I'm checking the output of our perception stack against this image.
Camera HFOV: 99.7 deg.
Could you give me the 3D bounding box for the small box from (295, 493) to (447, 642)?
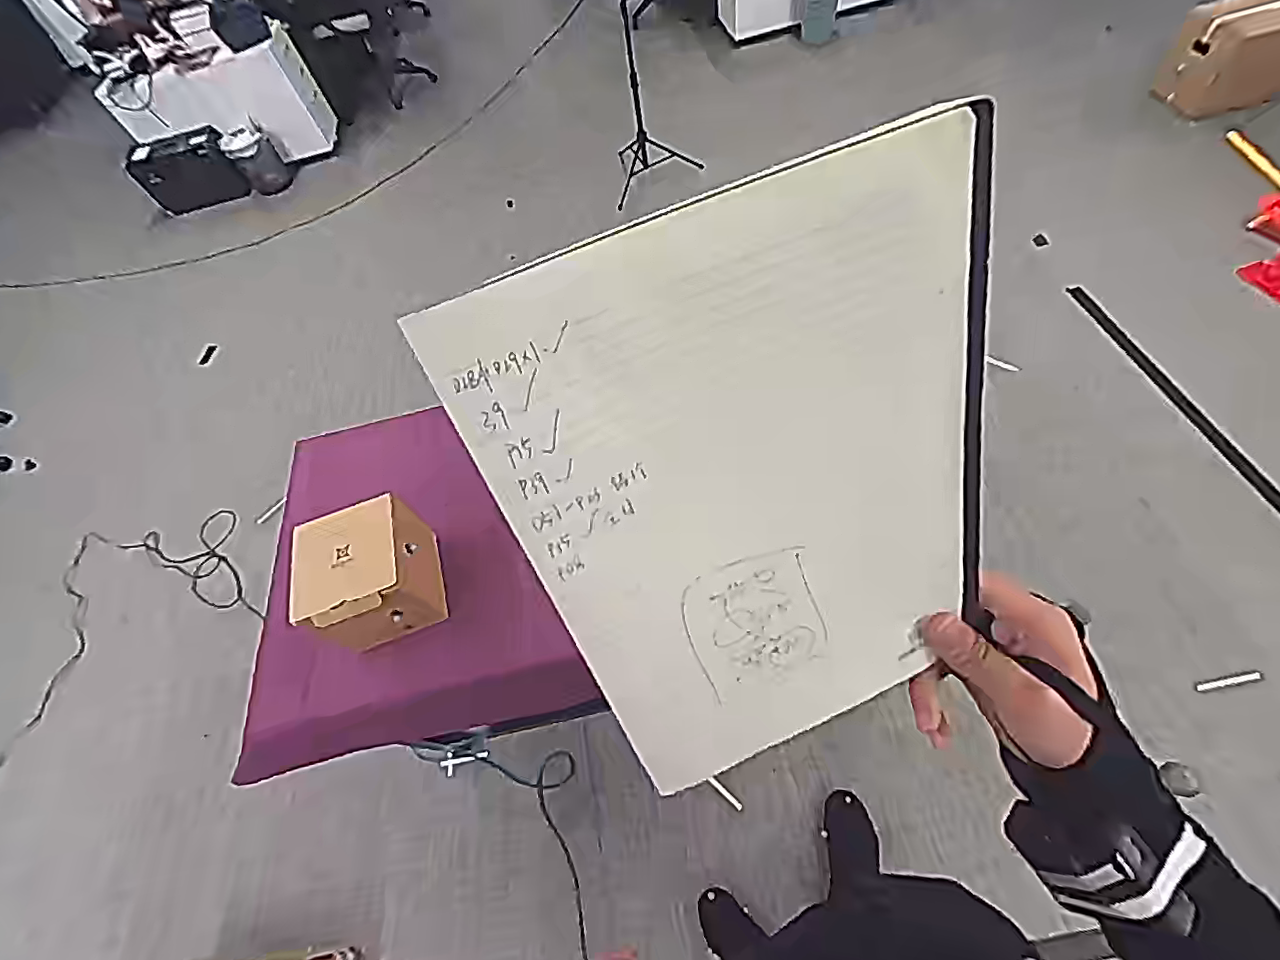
[{"bbox_3d":[-0.442,0.156,0.907,0.168,0.176,0.179,-20,58,-3],"label":"small box"}]
